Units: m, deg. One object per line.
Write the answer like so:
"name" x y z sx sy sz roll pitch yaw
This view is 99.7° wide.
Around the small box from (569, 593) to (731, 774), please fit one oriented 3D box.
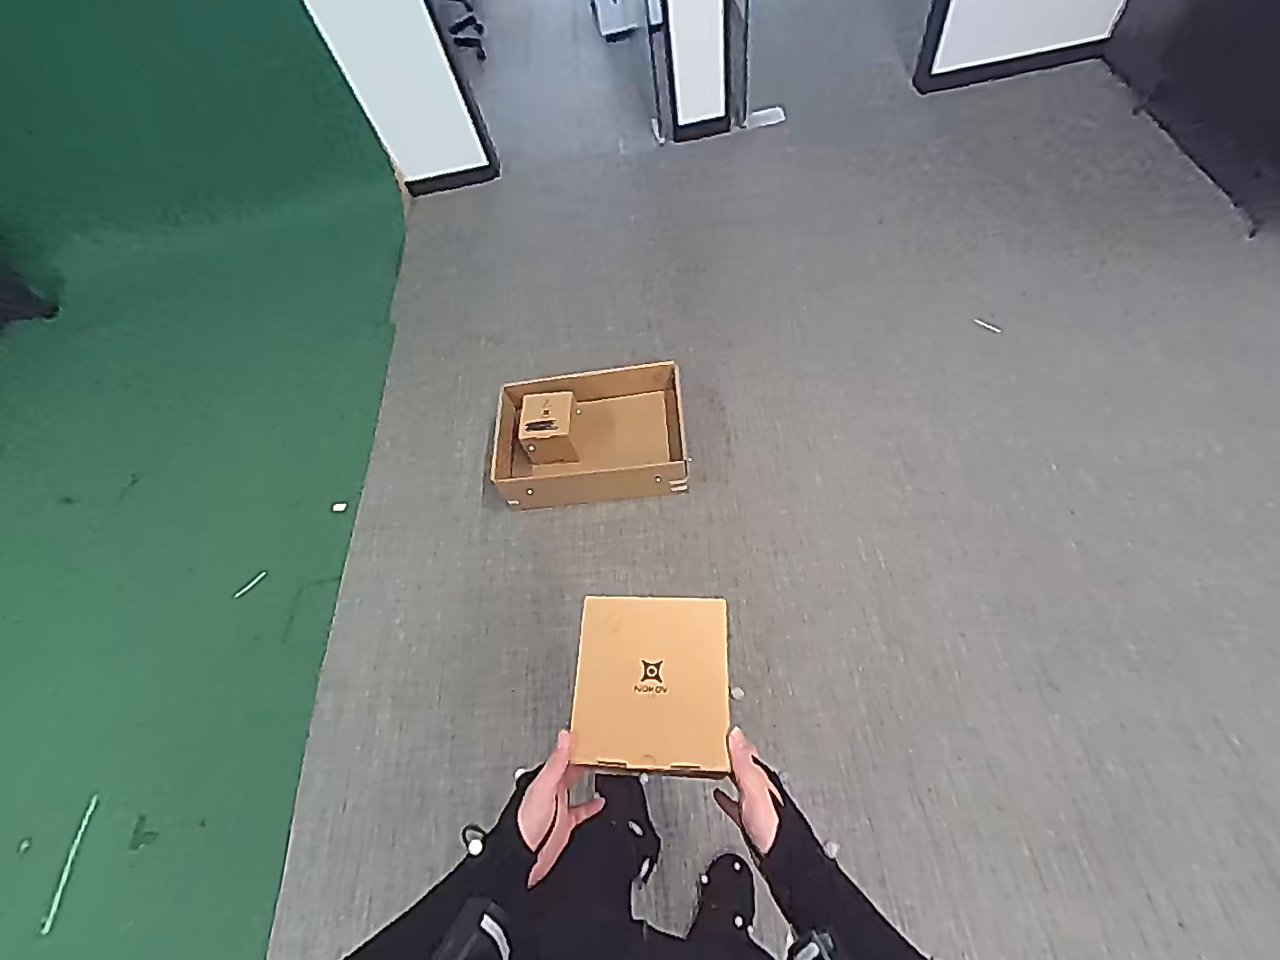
"small box" 0.019 0.248 0.651 0.168 0.176 0.179 0 60 6
